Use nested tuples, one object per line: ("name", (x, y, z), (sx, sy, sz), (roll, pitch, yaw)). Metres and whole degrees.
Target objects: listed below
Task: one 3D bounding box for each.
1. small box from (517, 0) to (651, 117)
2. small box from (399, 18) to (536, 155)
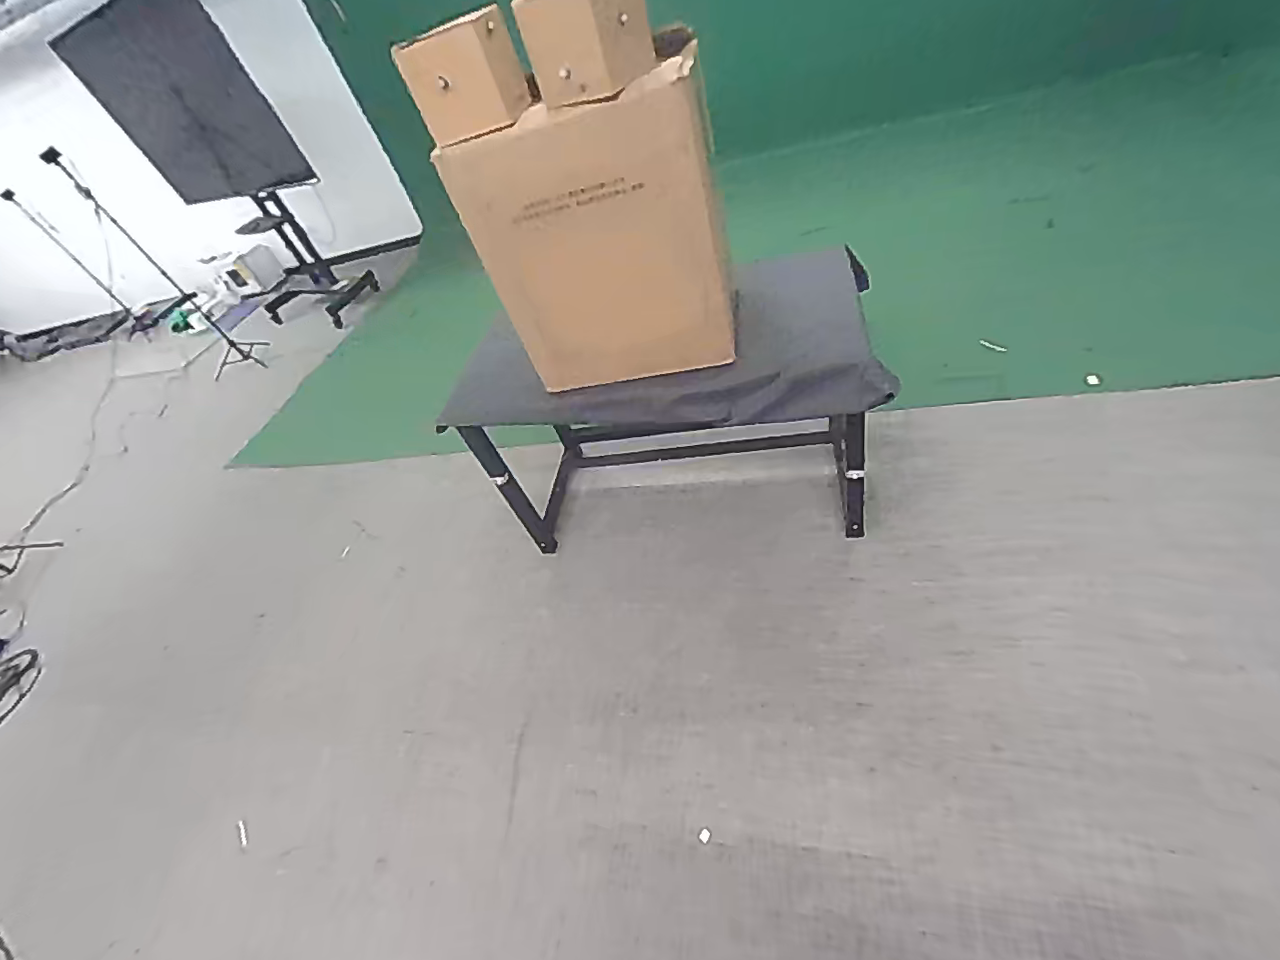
("small box", (-0.094, -0.821, 1.026), (0.168, 0.176, 0.179), (14, 55, 31))
("small box", (-0.341, -0.793, 1.101), (0.179, 0.176, 0.168), (-8, 46, 18))
